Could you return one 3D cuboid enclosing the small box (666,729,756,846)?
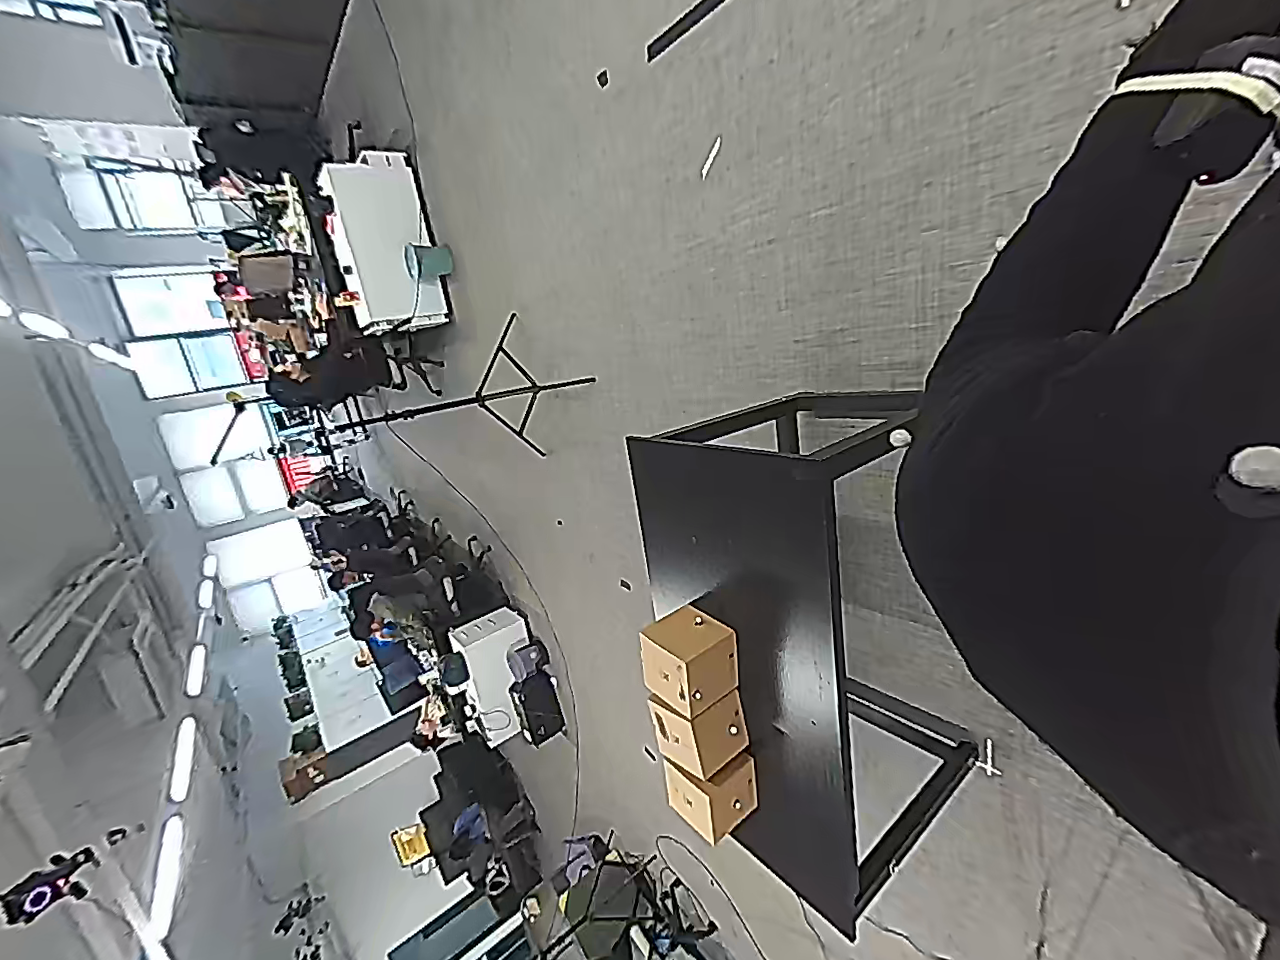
[{"bbox_3d":[0.193,0.800,1.431,0.179,0.176,0.168,16,118,52],"label":"small box"}]
